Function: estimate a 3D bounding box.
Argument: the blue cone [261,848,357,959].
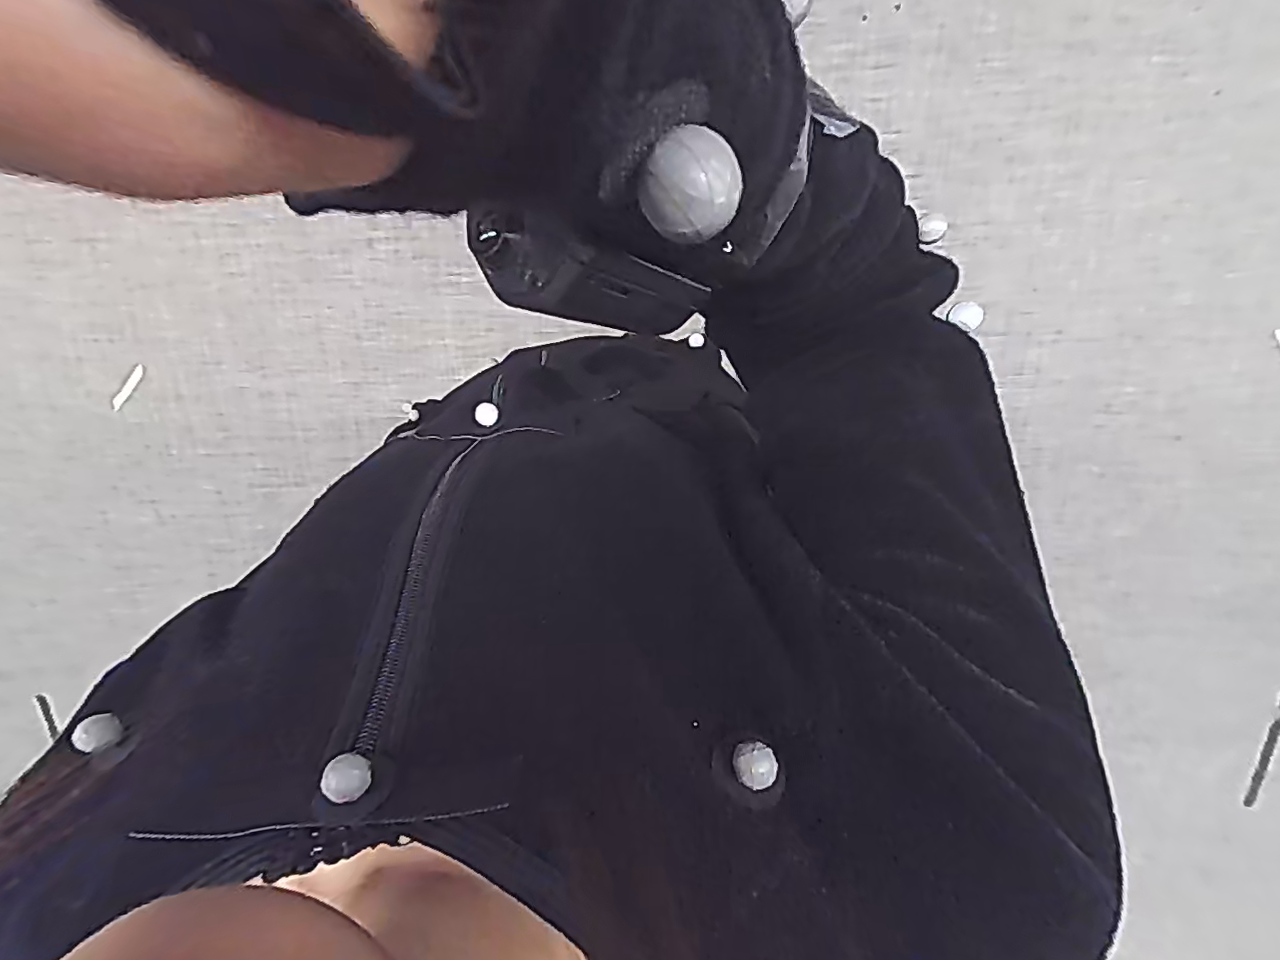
[{"bbox_3d":[-1.057,1.367,1.665,0.193,0.380,0.192,3,104,2],"label":"blue cone"}]
